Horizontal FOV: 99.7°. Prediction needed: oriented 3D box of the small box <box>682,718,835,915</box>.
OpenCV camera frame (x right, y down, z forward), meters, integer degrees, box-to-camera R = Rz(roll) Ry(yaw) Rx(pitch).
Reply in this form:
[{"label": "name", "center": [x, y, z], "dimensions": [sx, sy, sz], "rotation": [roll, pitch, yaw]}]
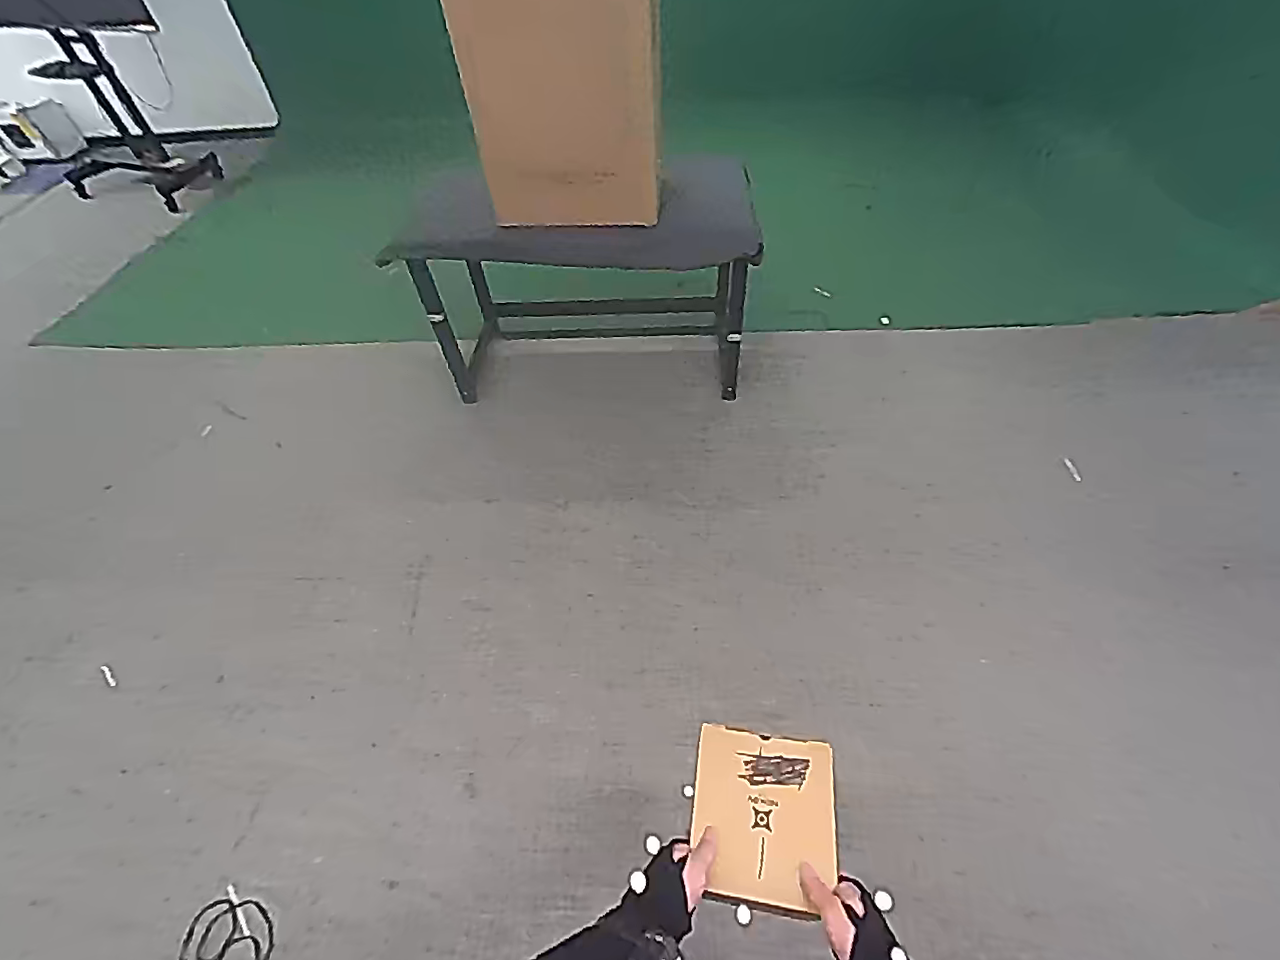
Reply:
[{"label": "small box", "center": [0.146, 0.436, 0.700], "dimensions": [0.168, 0.176, 0.179], "rotation": [6, 51, 8]}]
